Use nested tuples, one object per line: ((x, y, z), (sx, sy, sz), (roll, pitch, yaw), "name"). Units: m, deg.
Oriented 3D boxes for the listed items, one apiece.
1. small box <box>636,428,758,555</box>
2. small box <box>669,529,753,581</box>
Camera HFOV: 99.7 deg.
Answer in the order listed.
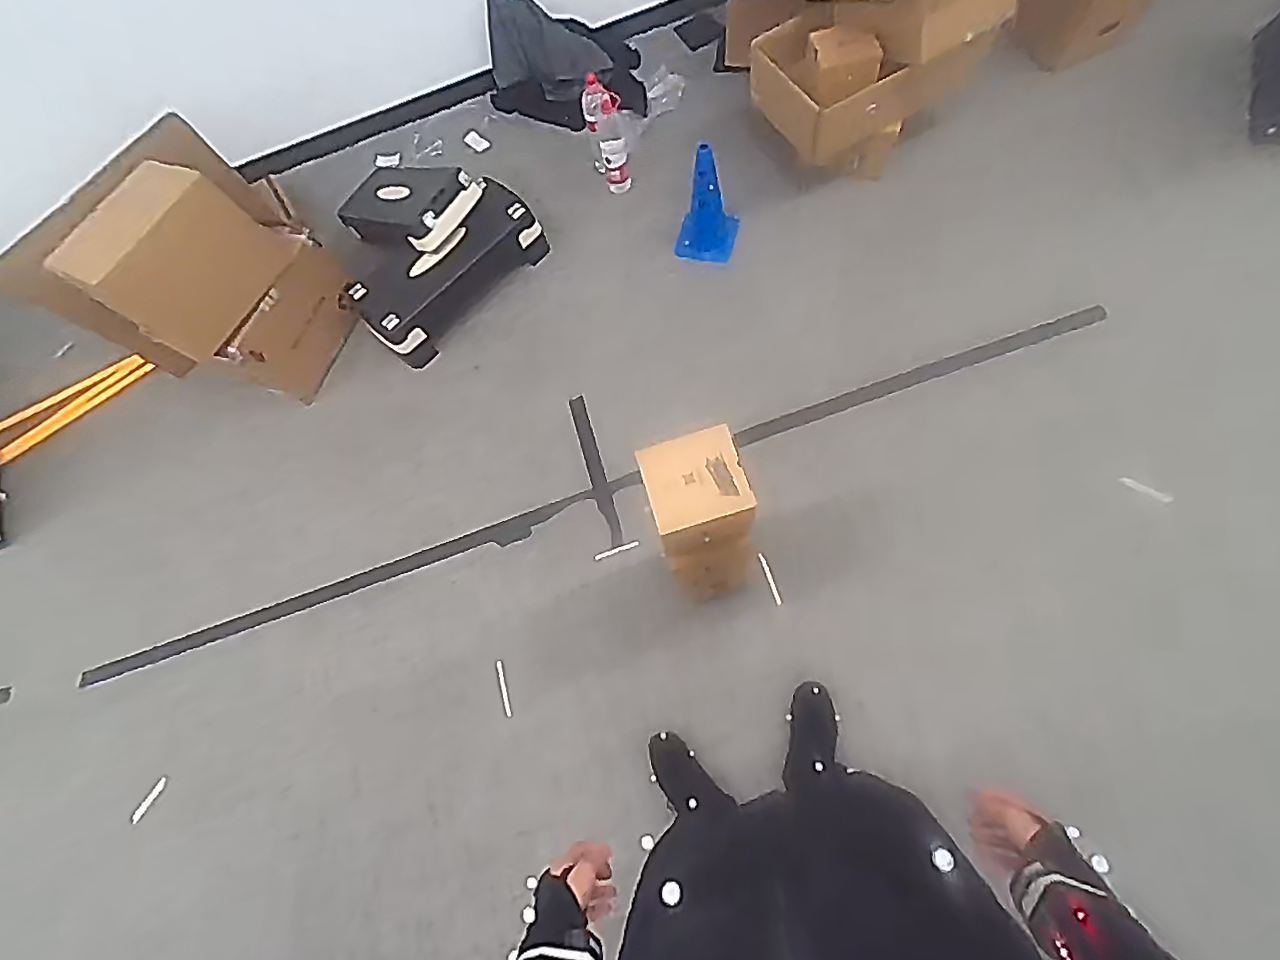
((0.106, 0.028, 1.012), (0.179, 0.176, 0.168), (-18, 69, 3), "small box")
((0.130, 0.101, 1.158), (0.168, 0.176, 0.179), (-19, 69, 1), "small box")
